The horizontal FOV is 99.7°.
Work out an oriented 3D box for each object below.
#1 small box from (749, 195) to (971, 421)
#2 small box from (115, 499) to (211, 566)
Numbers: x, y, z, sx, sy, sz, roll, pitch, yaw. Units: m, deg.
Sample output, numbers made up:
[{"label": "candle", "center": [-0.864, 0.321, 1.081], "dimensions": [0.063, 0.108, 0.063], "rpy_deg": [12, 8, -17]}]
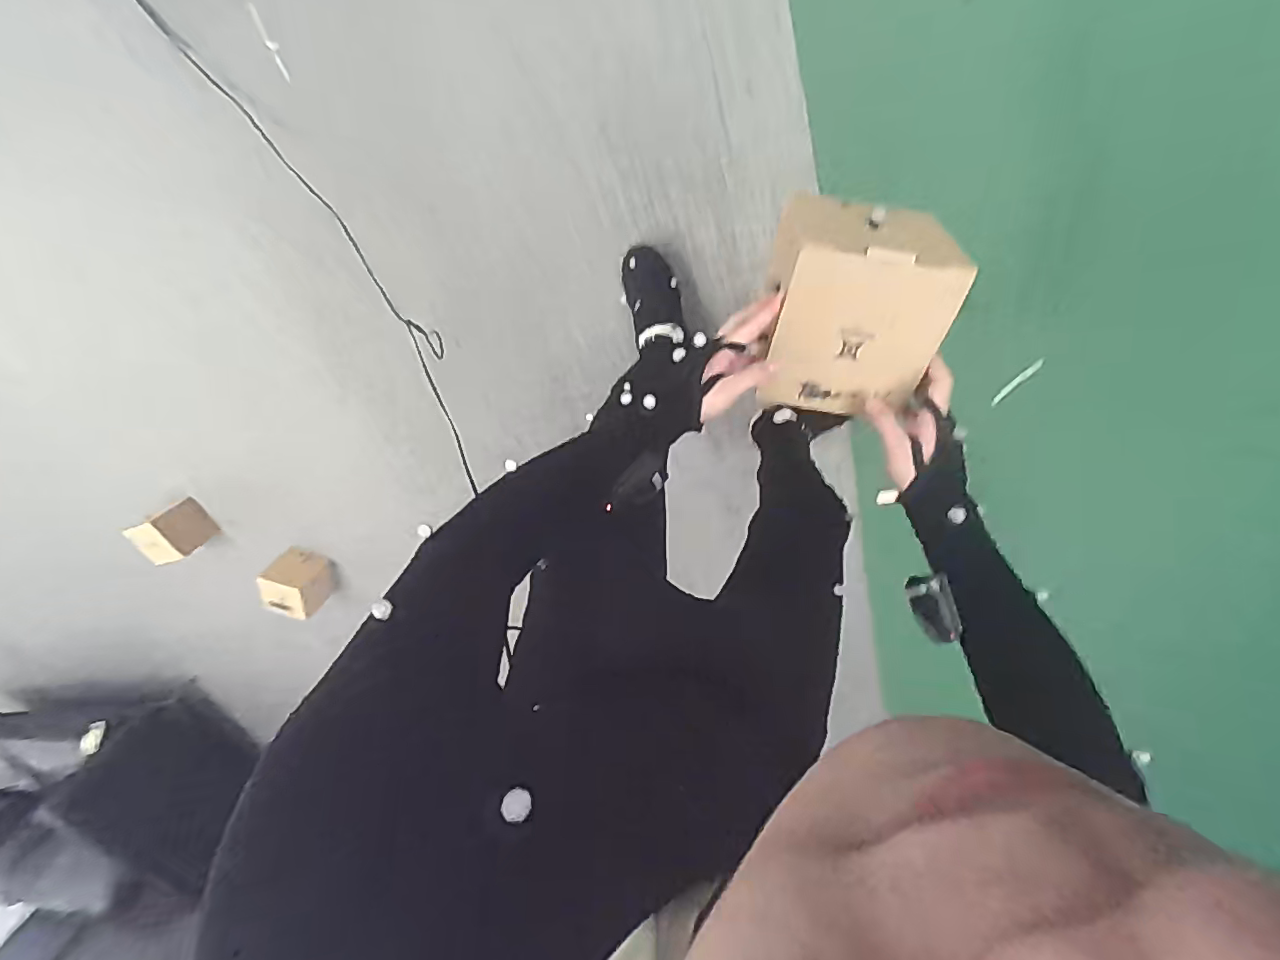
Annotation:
[{"label": "small box", "center": [0.220, -0.195, 0.603], "dimensions": [0.168, 0.176, 0.179], "rpy_deg": [10, 134, 1]}, {"label": "small box", "center": [-1.717, 0.188, 1.963], "dimensions": [0.179, 0.176, 0.168], "rpy_deg": [-12, 118, 21]}]
